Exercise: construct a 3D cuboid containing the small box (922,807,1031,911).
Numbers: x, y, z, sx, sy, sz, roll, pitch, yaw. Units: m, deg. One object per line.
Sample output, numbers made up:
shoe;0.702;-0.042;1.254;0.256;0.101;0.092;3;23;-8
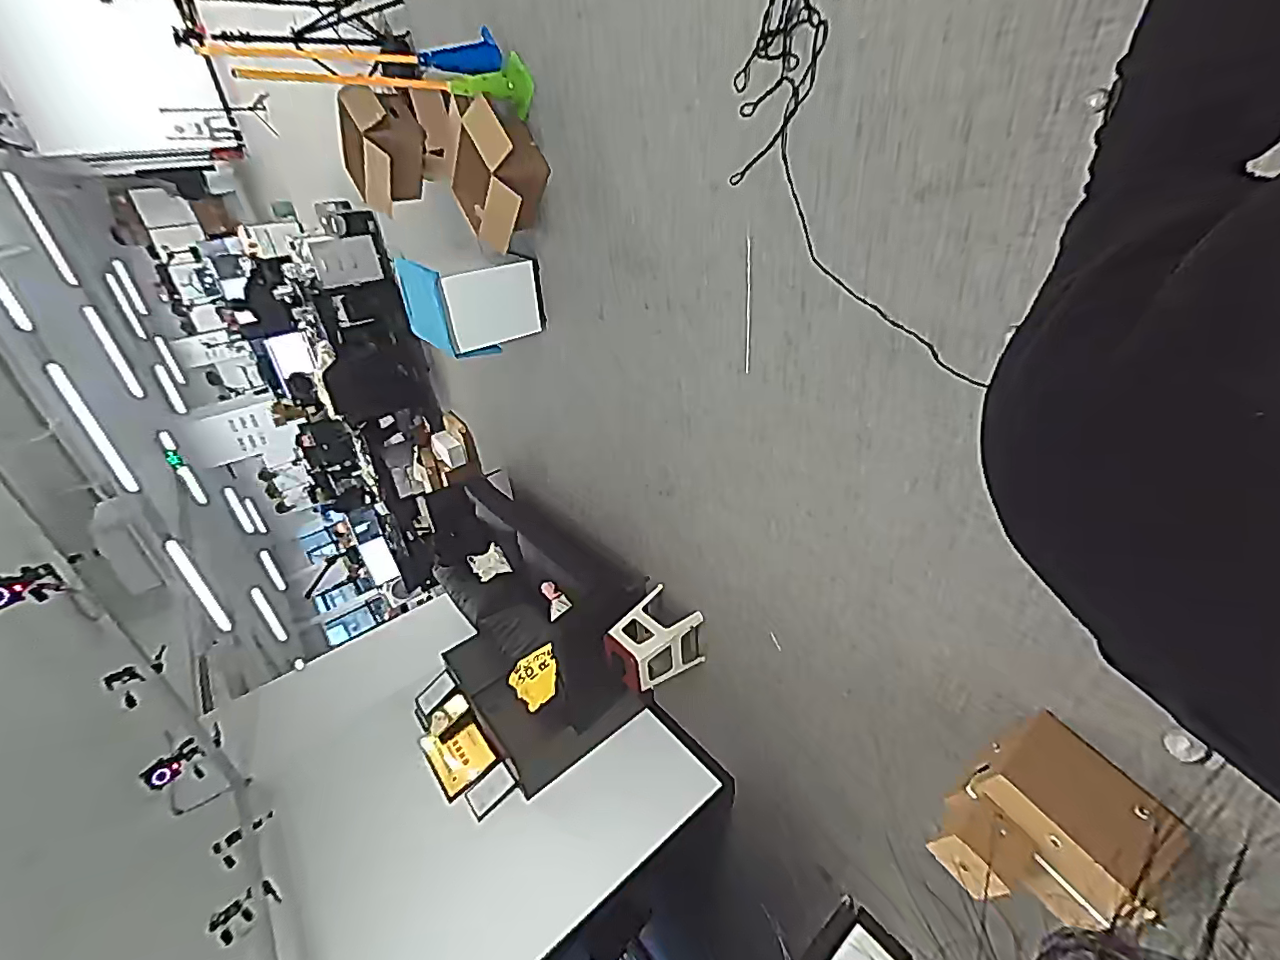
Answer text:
small box;0.950;1.066;1.525;0.168;0.176;0.179;45;145;29
